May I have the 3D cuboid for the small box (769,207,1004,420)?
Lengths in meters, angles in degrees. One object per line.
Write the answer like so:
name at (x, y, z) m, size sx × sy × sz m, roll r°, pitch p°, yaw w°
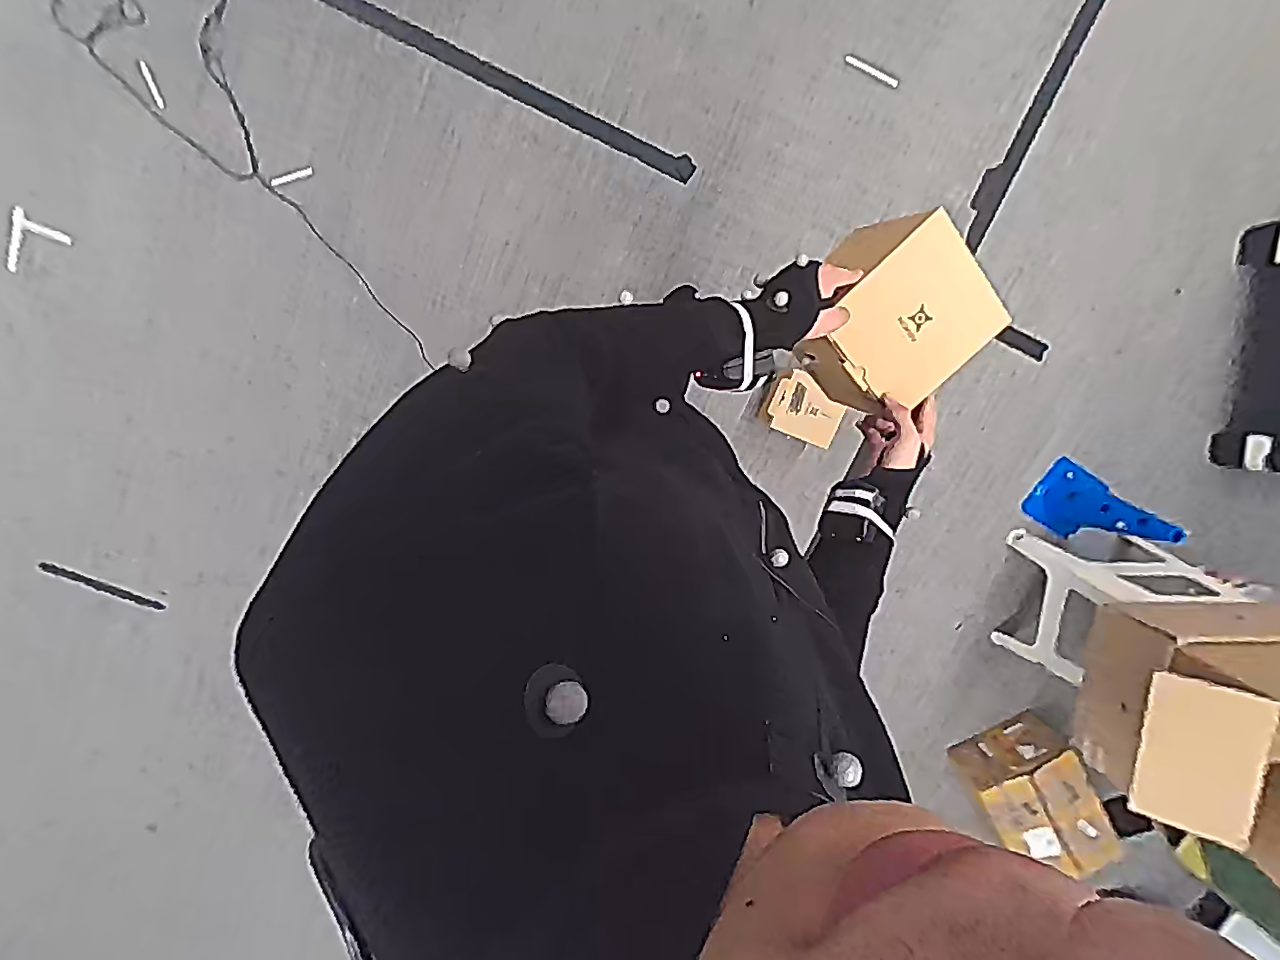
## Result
small box at (0.297, -0.208, 0.686) m, size 0.179 × 0.176 × 0.168 m, roll -44°, pitch 109°, yaw 7°

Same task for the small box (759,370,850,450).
small box at (0.452, -0.198, 1.503) m, size 0.179 × 0.176 × 0.168 m, roll 21°, pitch 101°, yaw -5°
